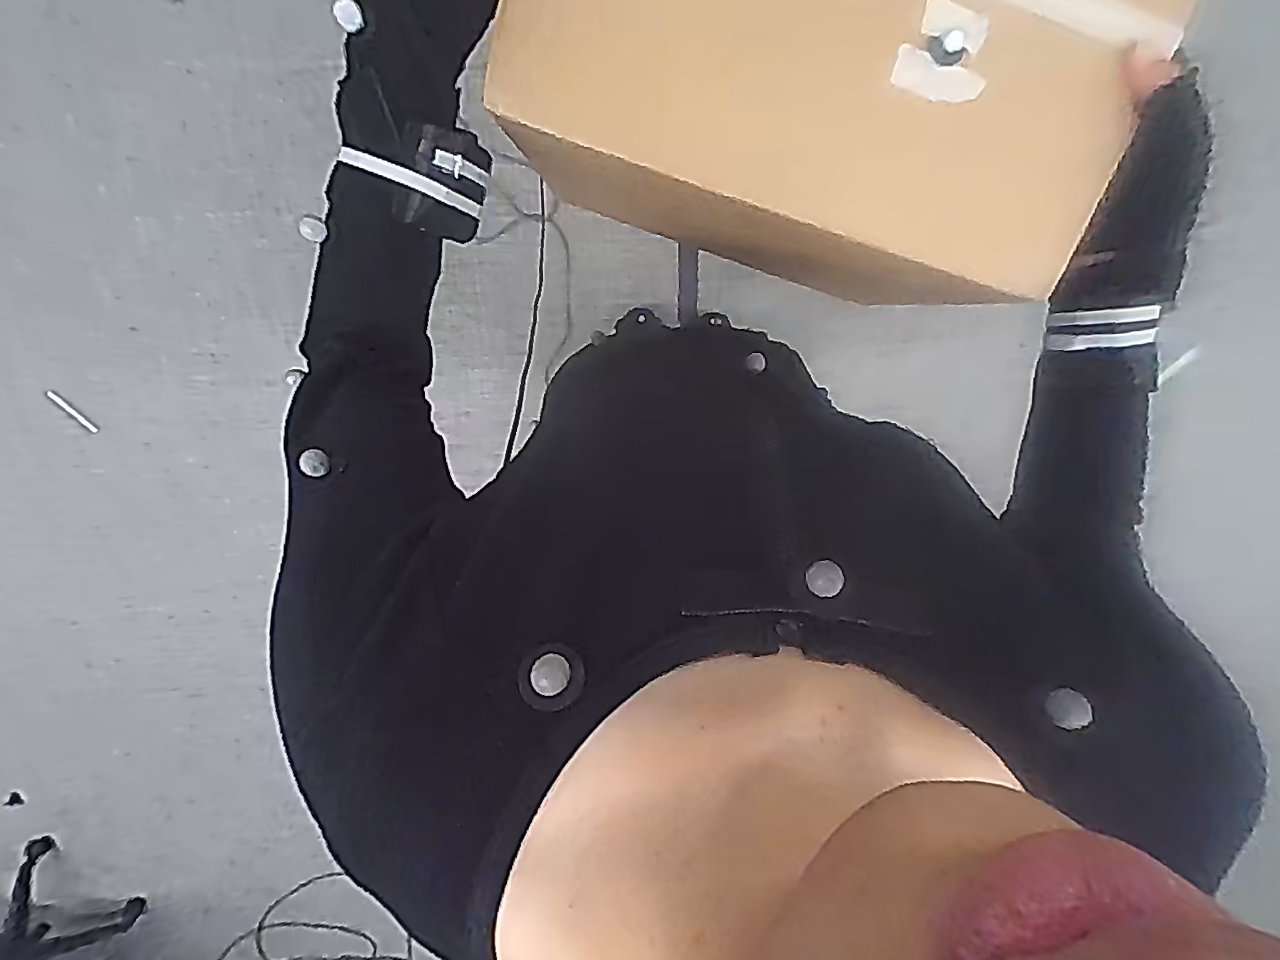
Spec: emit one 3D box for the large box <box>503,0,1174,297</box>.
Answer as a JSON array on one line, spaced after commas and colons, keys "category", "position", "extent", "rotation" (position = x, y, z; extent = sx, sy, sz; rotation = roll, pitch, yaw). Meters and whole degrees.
[{"category": "large box", "position": [0.136, -0.376, 0.475], "extent": [0.408, 0.320, 0.320], "rotation": [16, 107, -5]}]
